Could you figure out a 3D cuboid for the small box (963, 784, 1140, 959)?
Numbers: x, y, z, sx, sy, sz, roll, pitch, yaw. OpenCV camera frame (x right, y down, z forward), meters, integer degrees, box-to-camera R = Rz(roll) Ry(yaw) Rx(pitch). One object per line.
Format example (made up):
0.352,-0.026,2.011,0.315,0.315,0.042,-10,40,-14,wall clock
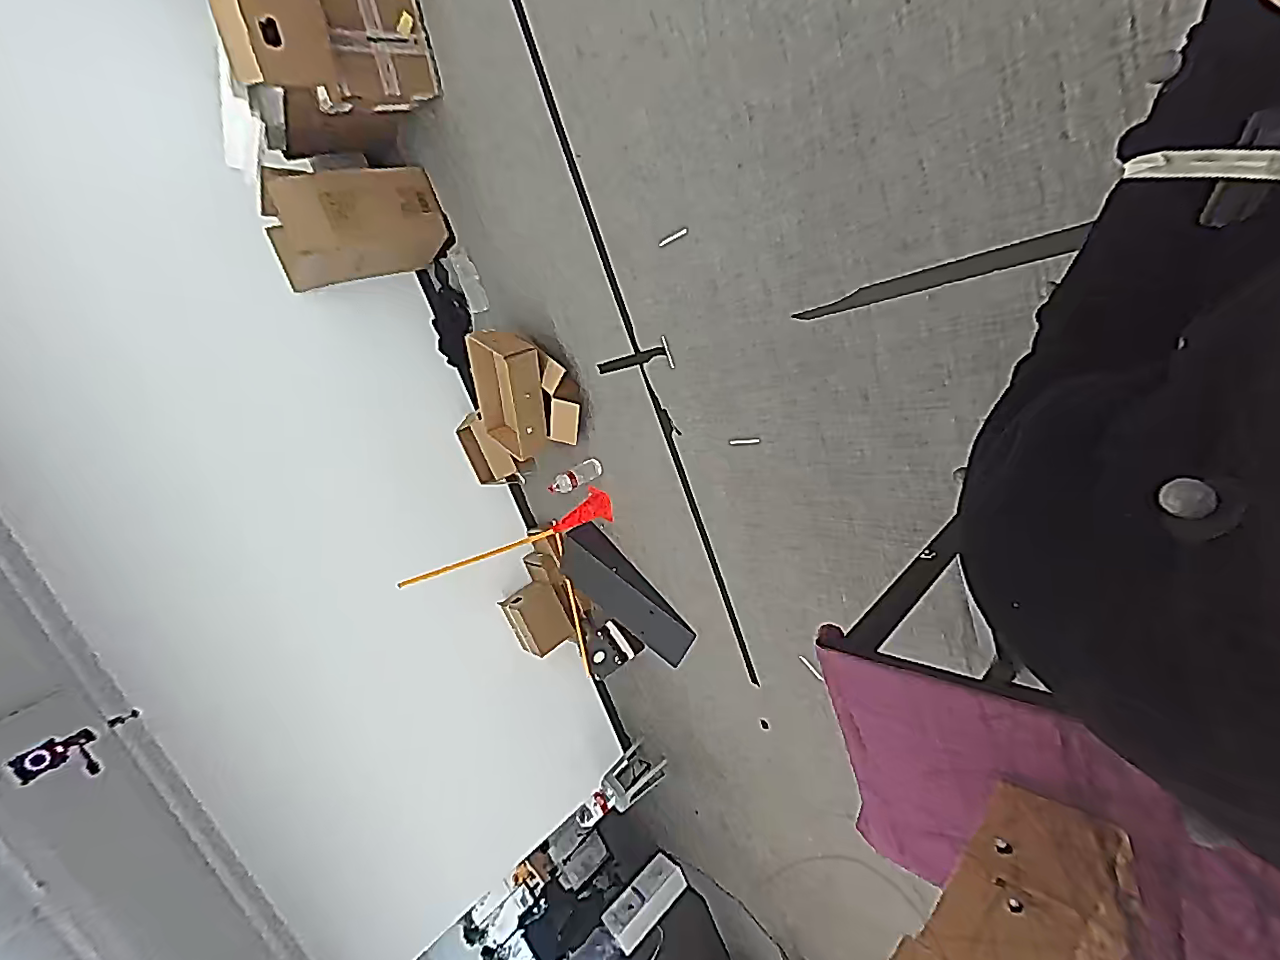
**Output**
0.664,0.635,0.873,0.179,0.176,0.168,-2,114,54,small box
